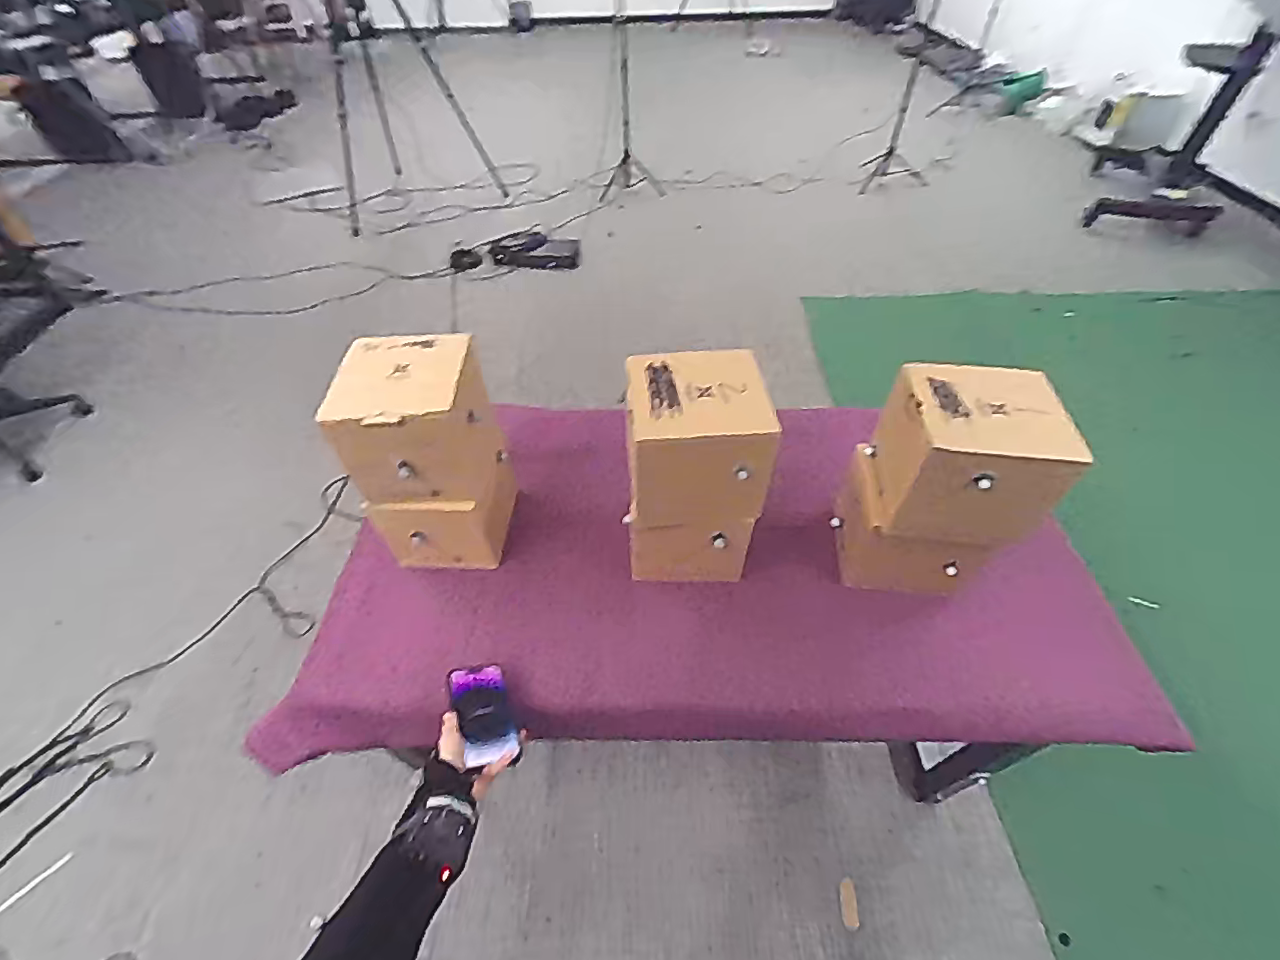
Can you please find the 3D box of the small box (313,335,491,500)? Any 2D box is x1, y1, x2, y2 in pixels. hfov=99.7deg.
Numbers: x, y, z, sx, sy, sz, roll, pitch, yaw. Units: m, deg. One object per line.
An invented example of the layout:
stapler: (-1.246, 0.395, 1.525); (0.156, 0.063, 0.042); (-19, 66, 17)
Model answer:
small box: (-0.319, -0.083, 0.769); (0.168, 0.176, 0.179); (-3, 49, -2)

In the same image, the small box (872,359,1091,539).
small box: (0.419, -0.038, 0.709); (0.179, 0.176, 0.168); (5, 48, 5)

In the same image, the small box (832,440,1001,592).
small box: (0.414, 0.059, 0.841); (0.179, 0.176, 0.168); (5, 48, 6)

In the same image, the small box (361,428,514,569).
small box: (-0.315, 0.033, 0.887); (0.168, 0.176, 0.179); (0, 48, 2)

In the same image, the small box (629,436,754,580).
small box: (0.075, 0.048, 0.860); (0.179, 0.176, 0.168); (0, 48, 2)
